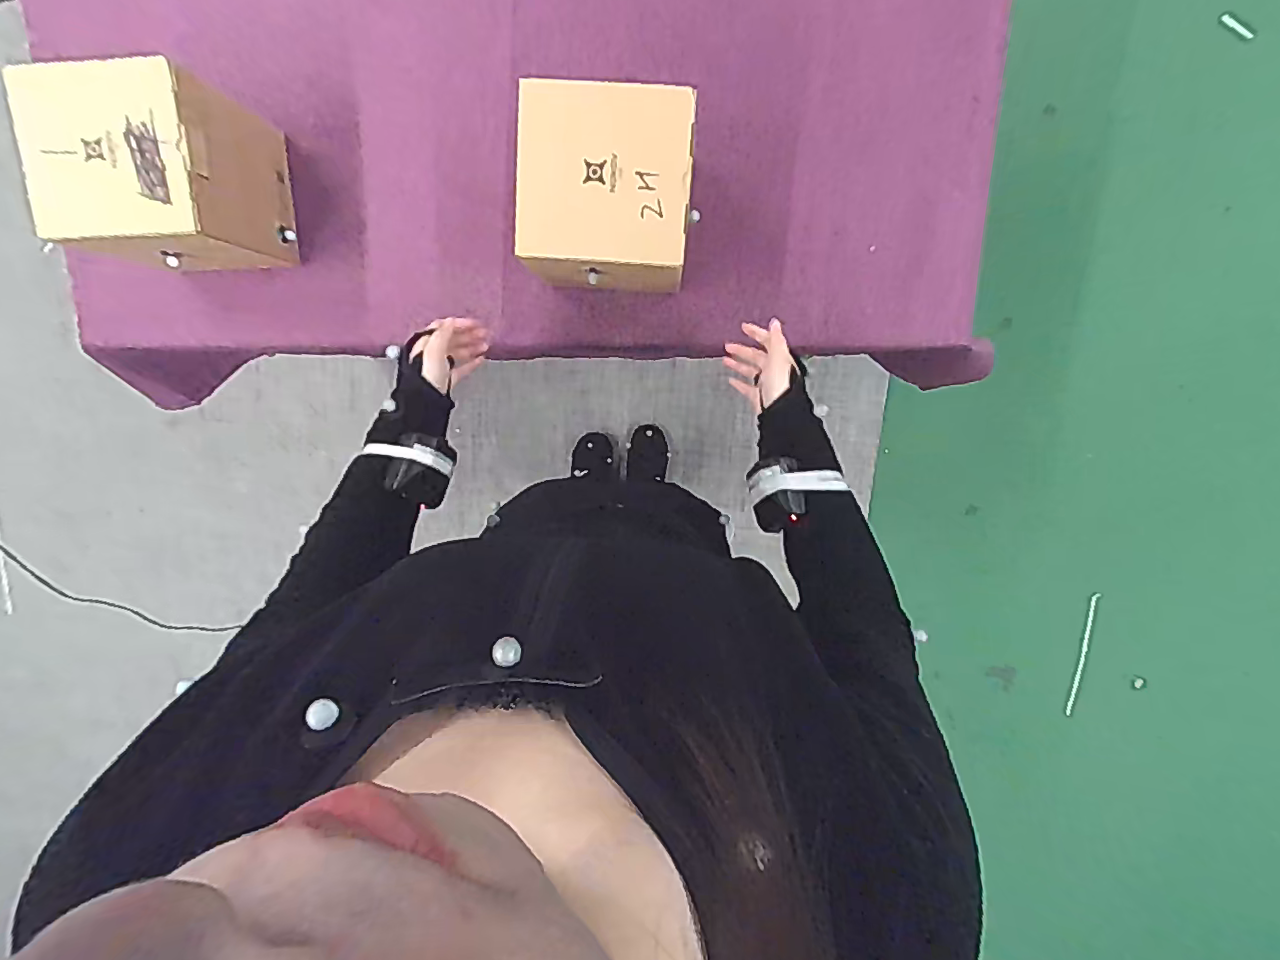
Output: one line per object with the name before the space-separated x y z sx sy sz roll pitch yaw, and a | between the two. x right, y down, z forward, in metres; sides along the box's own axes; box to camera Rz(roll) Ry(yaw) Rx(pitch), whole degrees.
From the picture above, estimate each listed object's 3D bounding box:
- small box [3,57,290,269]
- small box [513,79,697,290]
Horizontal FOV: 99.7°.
small box | -0.540 -0.347 0.625 0.179 0.176 0.168 -1 100 3
small box | -0.033 -0.317 0.613 0.179 0.176 0.168 4 101 2
